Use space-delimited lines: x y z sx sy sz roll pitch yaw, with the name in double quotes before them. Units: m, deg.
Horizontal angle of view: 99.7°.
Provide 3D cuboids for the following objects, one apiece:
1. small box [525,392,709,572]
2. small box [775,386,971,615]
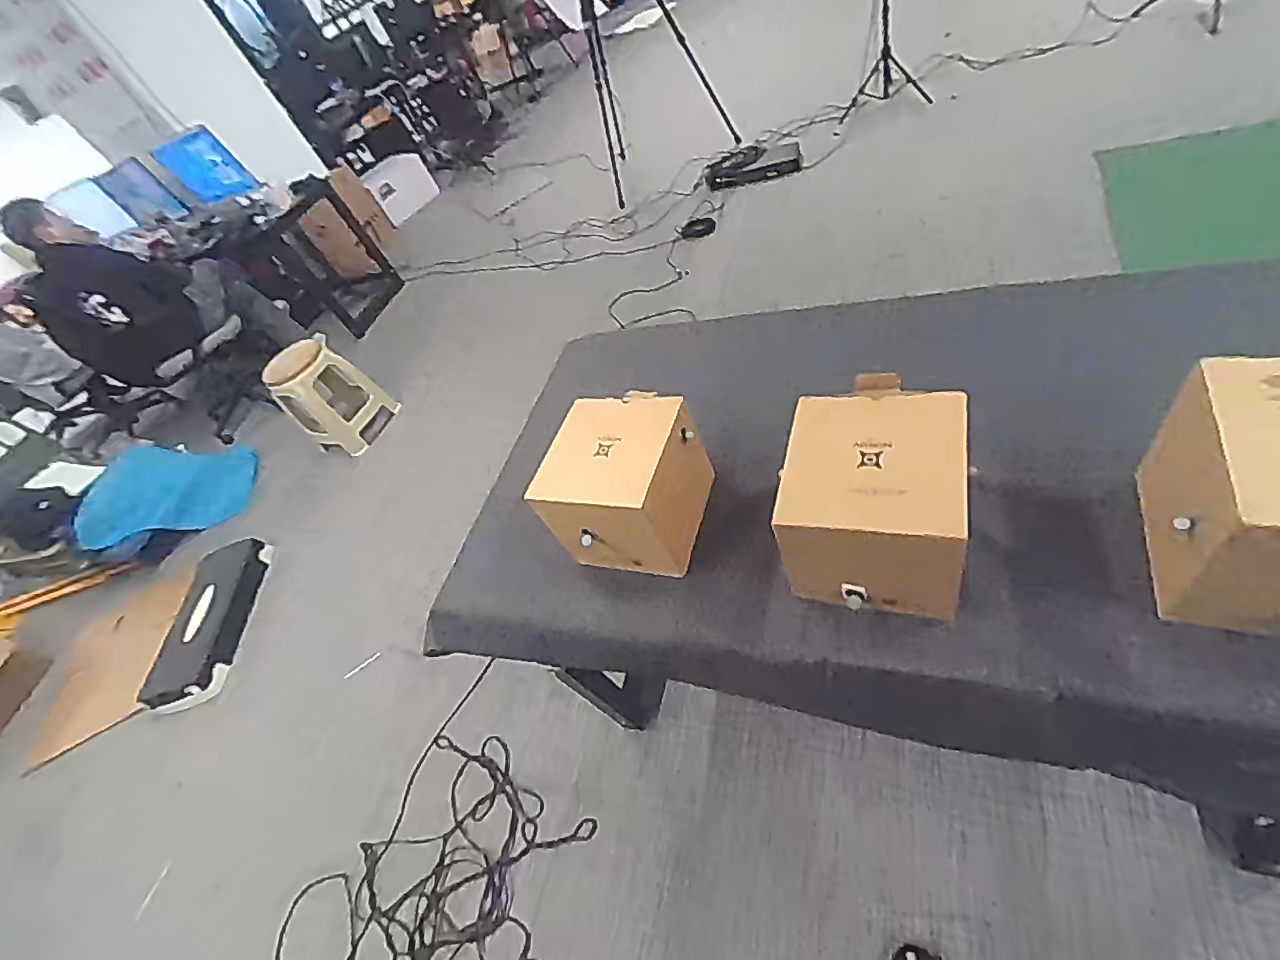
"small box" -0.017 0.005 0.725 0.168 0.176 0.179 2 52 27
"small box" 0.254 0.021 0.585 0.168 0.176 0.179 1 54 27
